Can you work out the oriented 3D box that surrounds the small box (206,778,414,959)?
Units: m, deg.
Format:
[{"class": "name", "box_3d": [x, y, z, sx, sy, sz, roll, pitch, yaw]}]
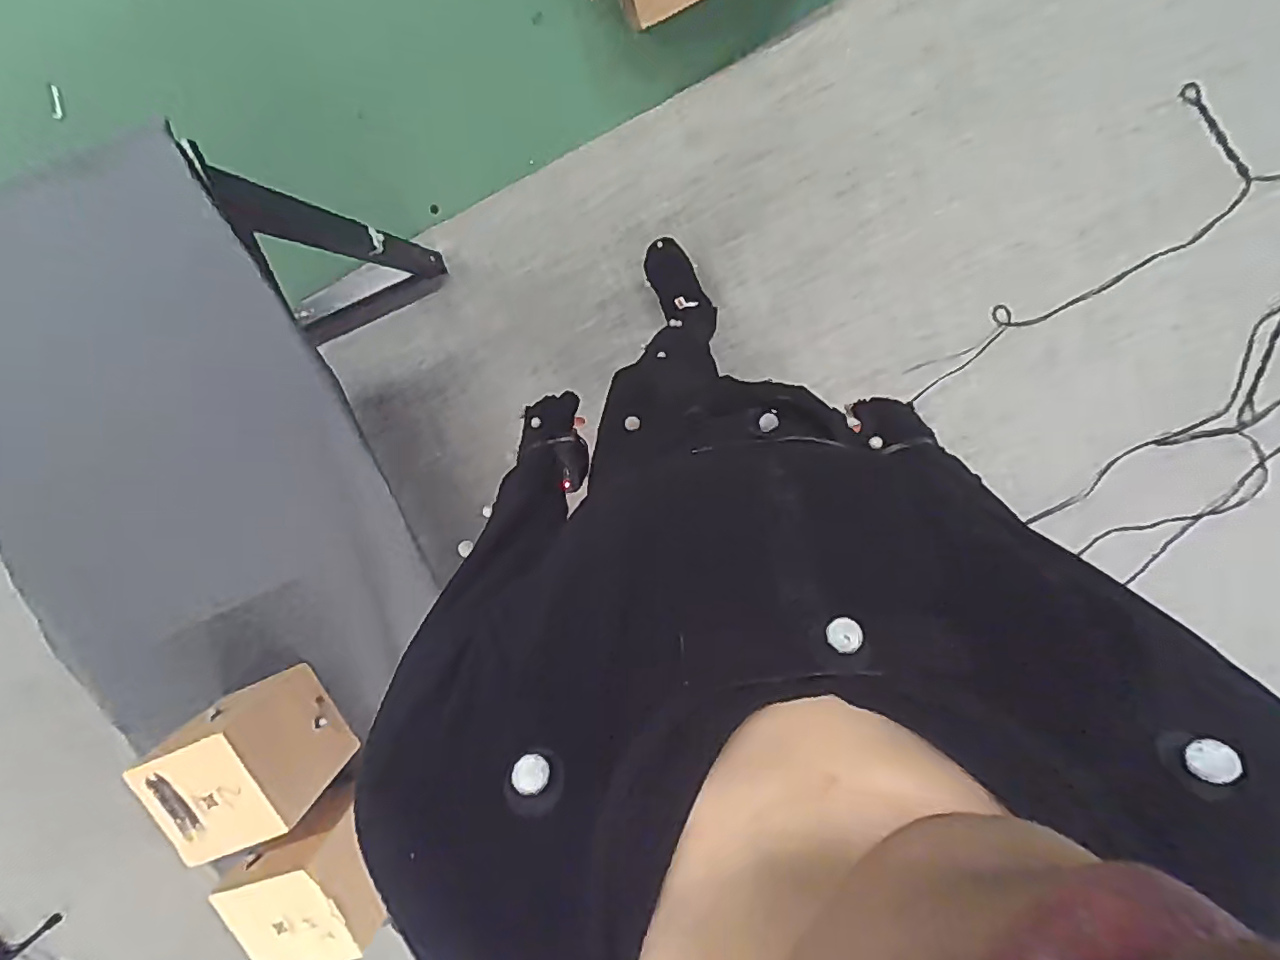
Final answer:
[{"class": "small box", "box_3d": [-0.487, 0.599, 0.826, 0.179, 0.176, 0.168, -21, 100, 10]}]
